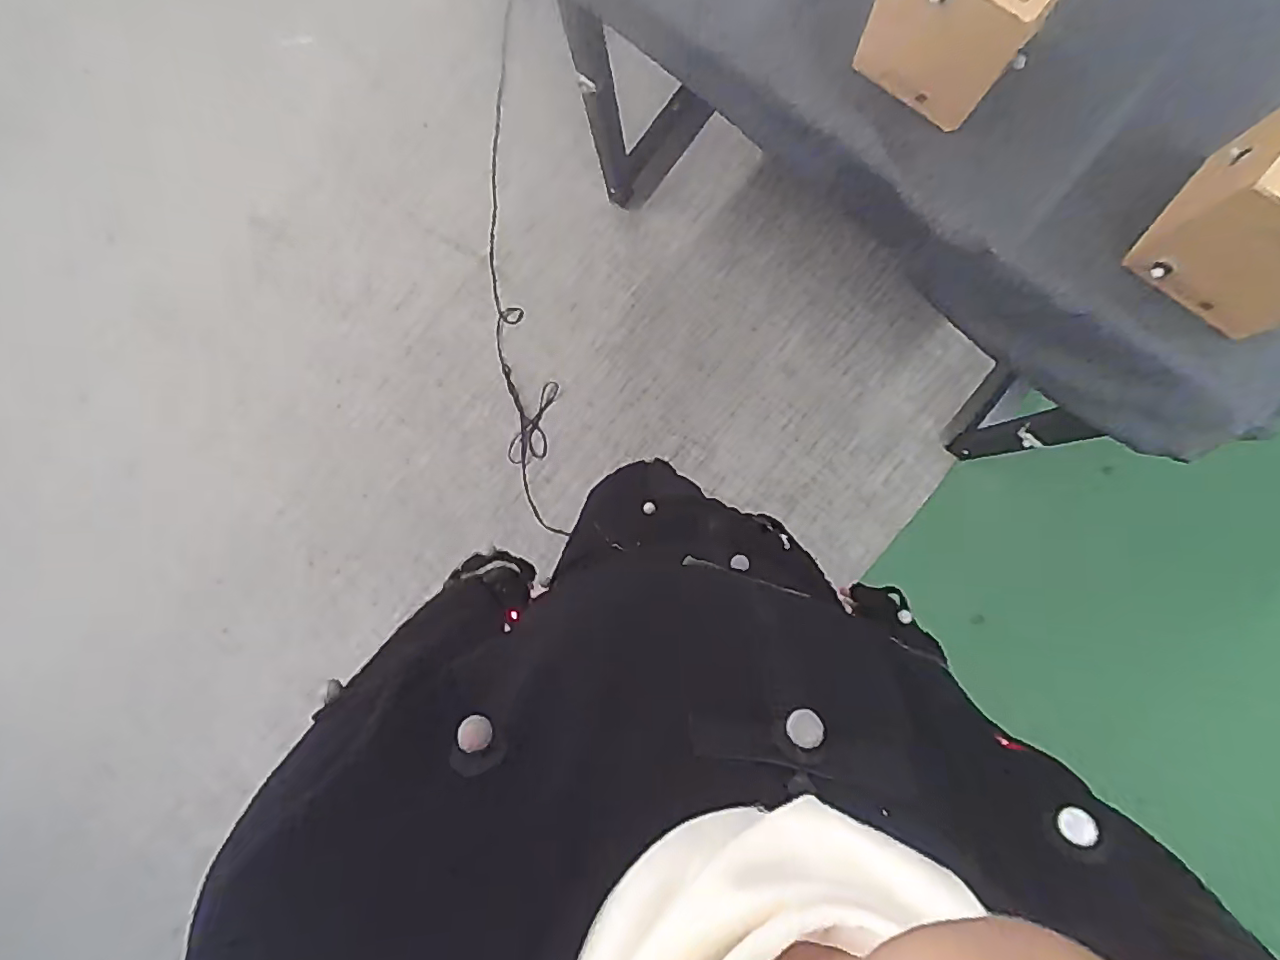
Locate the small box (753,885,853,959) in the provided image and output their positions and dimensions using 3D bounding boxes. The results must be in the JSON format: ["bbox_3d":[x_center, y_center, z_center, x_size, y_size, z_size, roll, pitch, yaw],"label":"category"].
[{"bbox_3d":[0.395,1.140,1.303,0.179,0.176,0.168,37,90,6],"label":"small box"}]

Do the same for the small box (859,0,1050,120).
[{"bbox_3d":[0.391,-0.584,0.633,0.168,0.176,0.179,39,91,5],"label":"small box"}]

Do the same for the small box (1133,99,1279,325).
[{"bbox_3d":[0.711,-0.303,0.592,0.168,0.176,0.179,40,90,6],"label":"small box"}]
